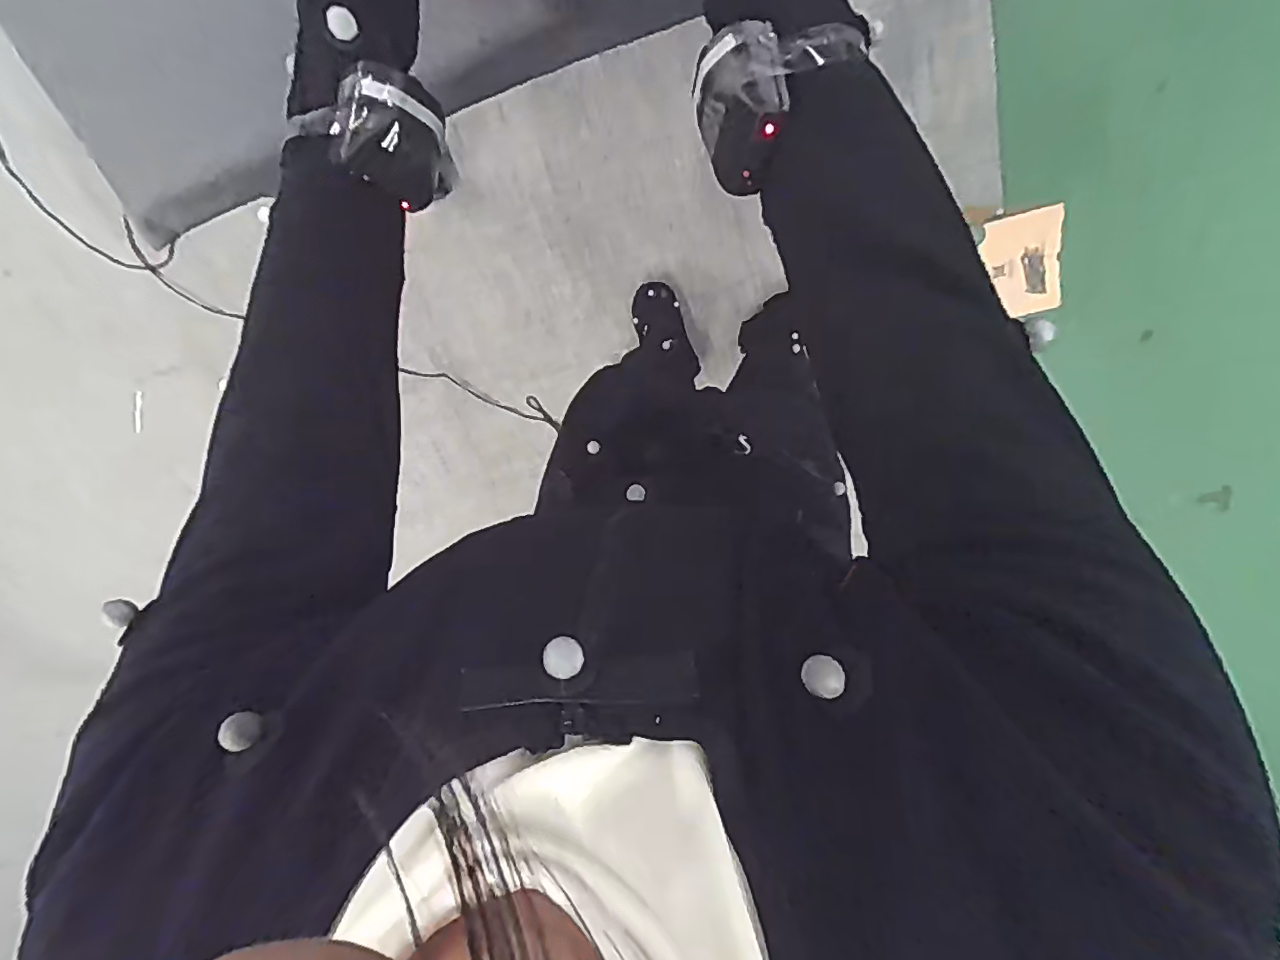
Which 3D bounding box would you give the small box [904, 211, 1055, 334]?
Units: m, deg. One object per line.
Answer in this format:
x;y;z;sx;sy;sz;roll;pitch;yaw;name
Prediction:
0.601;-0.379;0.977;0.179;0.176;0.168;-11;114;11;small box
